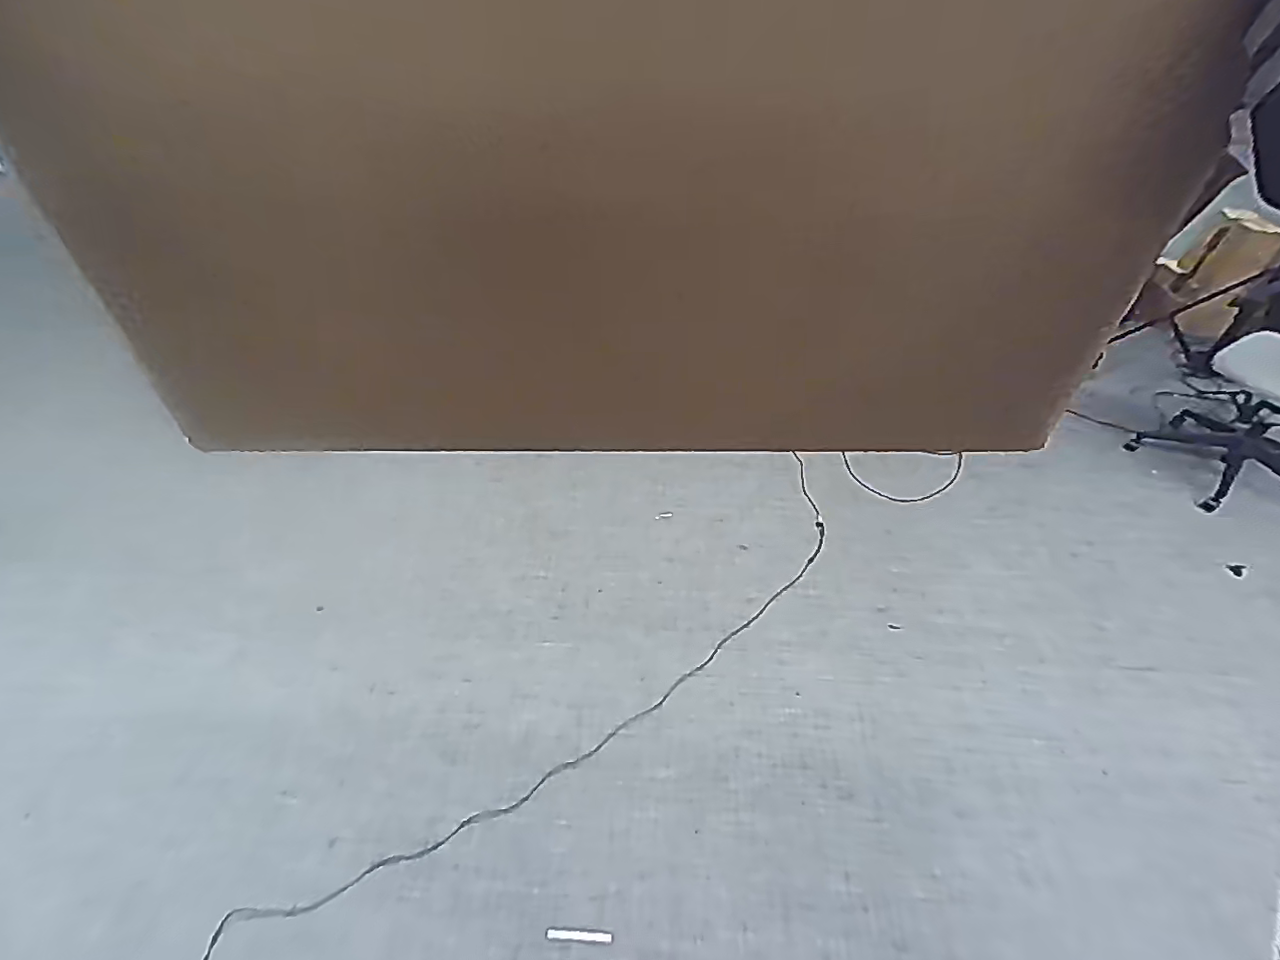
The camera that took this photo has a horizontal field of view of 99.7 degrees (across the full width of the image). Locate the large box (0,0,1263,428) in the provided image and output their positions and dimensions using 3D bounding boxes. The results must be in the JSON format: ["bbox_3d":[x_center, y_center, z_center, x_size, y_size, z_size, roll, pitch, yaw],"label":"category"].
[{"bbox_3d":[-0.008,-0.235,0.279,0.408,0.320,0.320,1,41,-1],"label":"large box"}]
